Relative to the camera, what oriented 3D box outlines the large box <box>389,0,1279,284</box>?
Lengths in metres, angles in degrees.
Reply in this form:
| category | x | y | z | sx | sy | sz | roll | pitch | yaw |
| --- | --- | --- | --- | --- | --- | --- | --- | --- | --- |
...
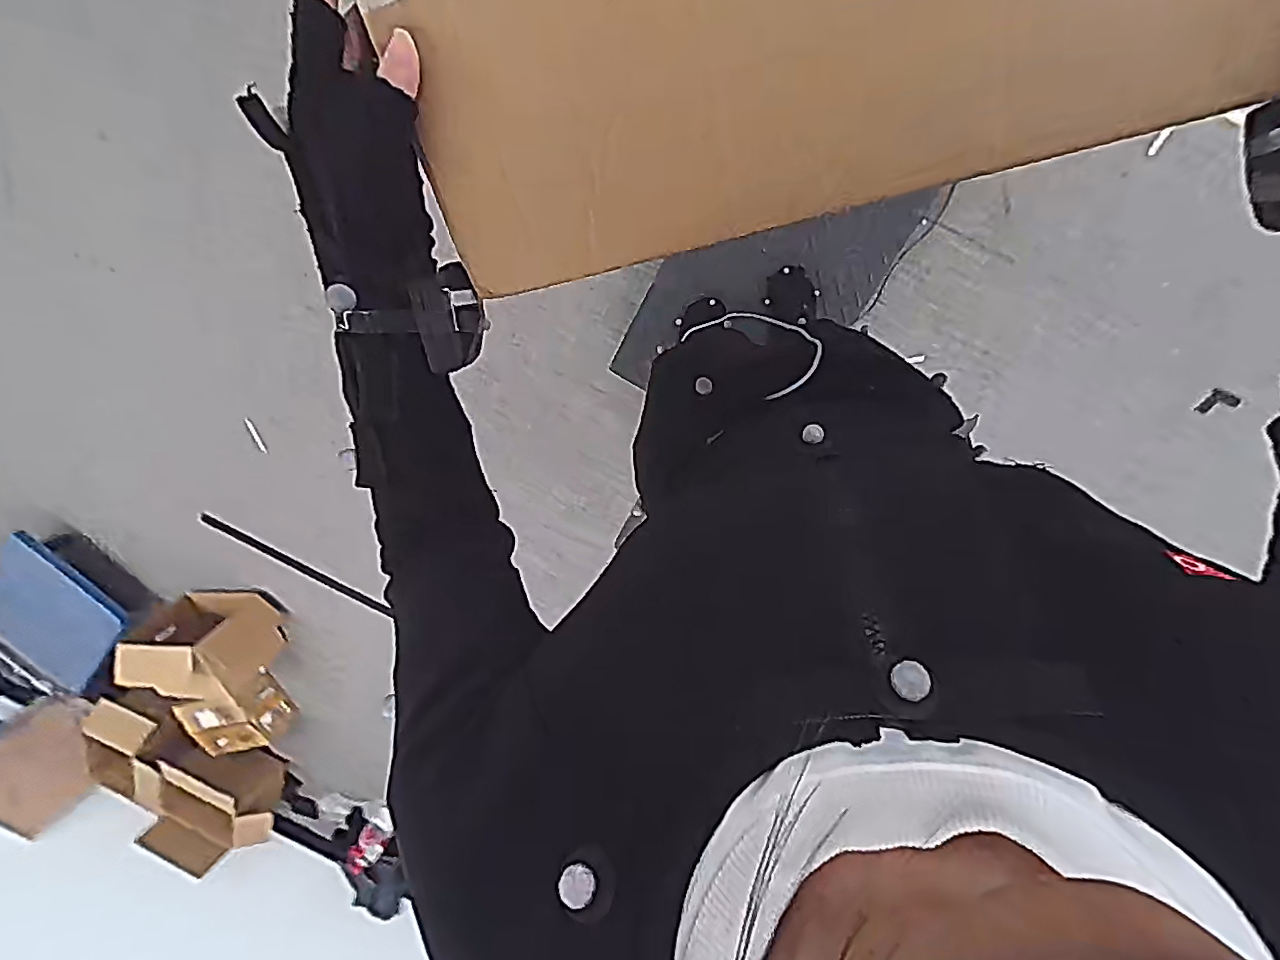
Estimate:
| category | x | y | z | sx | sy | sz | roll | pitch | yaw |
| --- | --- | --- | --- | --- | --- | --- | --- | --- | --- |
| large box | 0.079 | -0.358 | 0.349 | 0.408 | 0.320 | 0.320 | -8 | 120 | 15 |
